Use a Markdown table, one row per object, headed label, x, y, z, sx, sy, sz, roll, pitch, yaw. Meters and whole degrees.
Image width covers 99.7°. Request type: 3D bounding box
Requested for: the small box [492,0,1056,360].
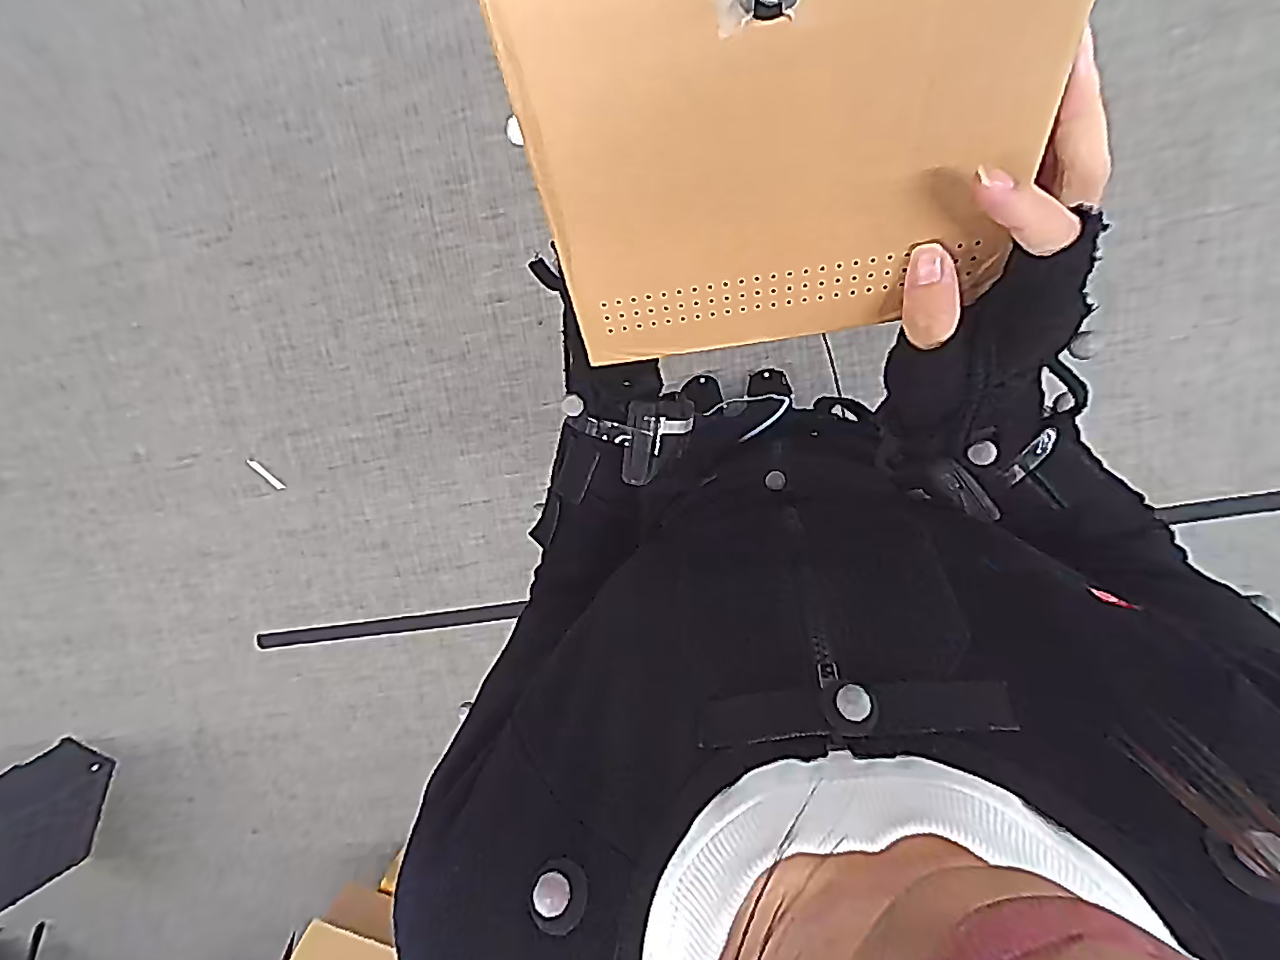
| label | x | y | z | sx | sy | sz | roll | pitch | yaw |
| --- | --- | --- | --- | --- | --- | --- | --- | --- | --- |
| small box | 0.050 | -0.171 | 0.238 | 0.179 | 0.168 | 0.176 | -6 | 139 | 9 |
